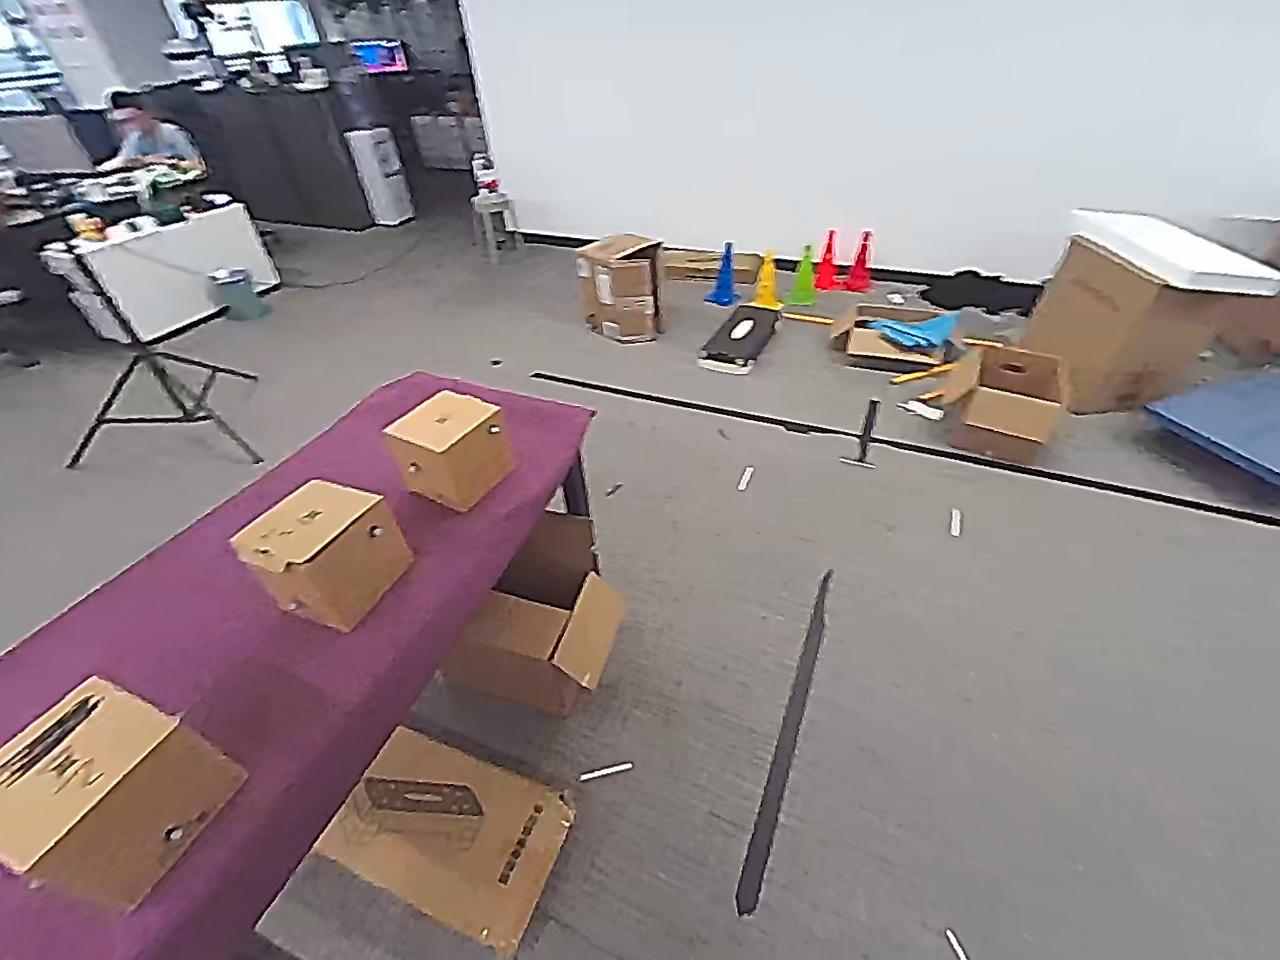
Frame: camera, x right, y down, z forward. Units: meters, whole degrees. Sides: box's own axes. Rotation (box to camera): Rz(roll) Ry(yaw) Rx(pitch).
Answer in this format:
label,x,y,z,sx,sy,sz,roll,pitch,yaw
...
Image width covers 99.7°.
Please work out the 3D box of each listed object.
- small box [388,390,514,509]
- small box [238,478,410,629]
label,x,y,z,sx,sy,sz,roll,pitch,yaw
small box,-0.393,-0.065,1.160,0.168,0.176,0.179,18,45,23
small box,-0.535,0.127,0.948,0.168,0.176,0.179,11,43,20
